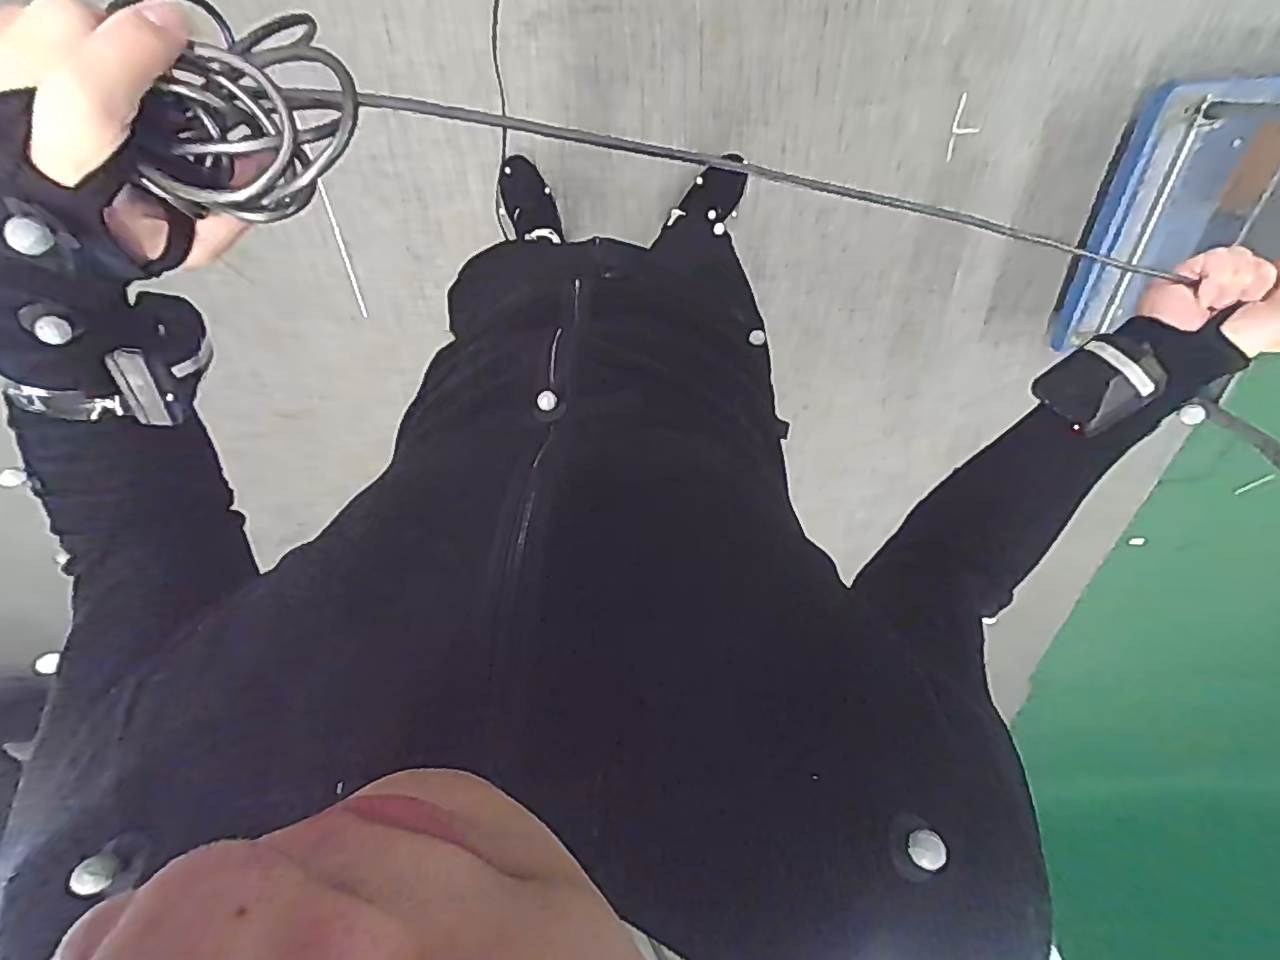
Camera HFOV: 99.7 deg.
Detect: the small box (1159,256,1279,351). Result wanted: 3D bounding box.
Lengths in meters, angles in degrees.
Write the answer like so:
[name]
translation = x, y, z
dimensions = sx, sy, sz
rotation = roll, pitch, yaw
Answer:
[small box]
translation = 1.369, -0.405, 1.231
dimensions = 0.179, 0.176, 0.168
rotation = 0, 126, 2
